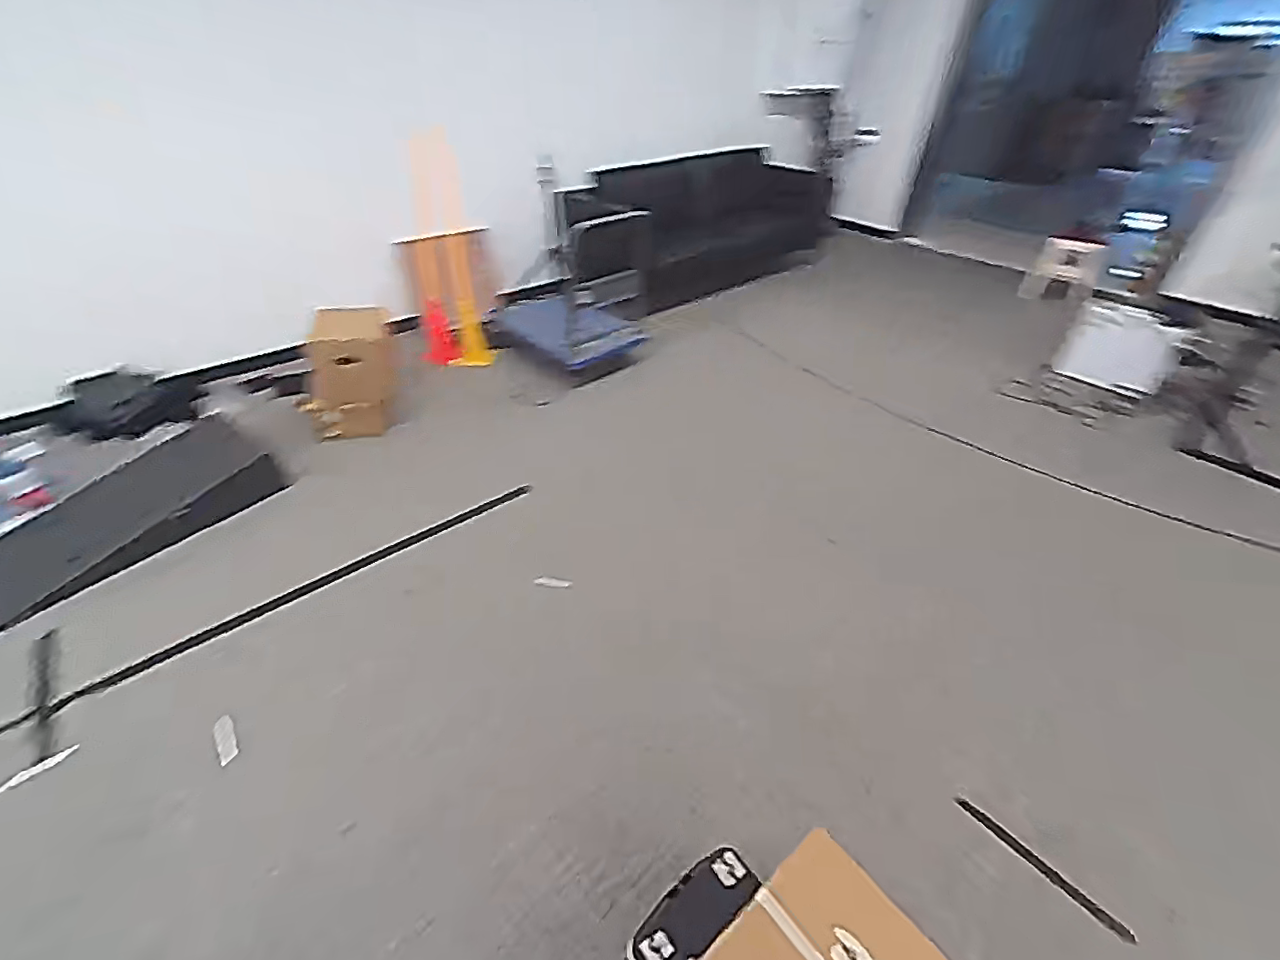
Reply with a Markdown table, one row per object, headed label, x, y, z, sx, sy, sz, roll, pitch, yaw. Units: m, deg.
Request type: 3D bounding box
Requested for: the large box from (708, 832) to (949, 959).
| label | x | y | z | sx | sy | sz | roll | pitch | yaw |
| --- | --- | --- | --- | --- | --- | --- | --- | --- | --- |
| large box | 0.319 | 0.862 | 0.811 | 0.320 | 0.320 | 0.408 | -26 | 44 | -30 |
